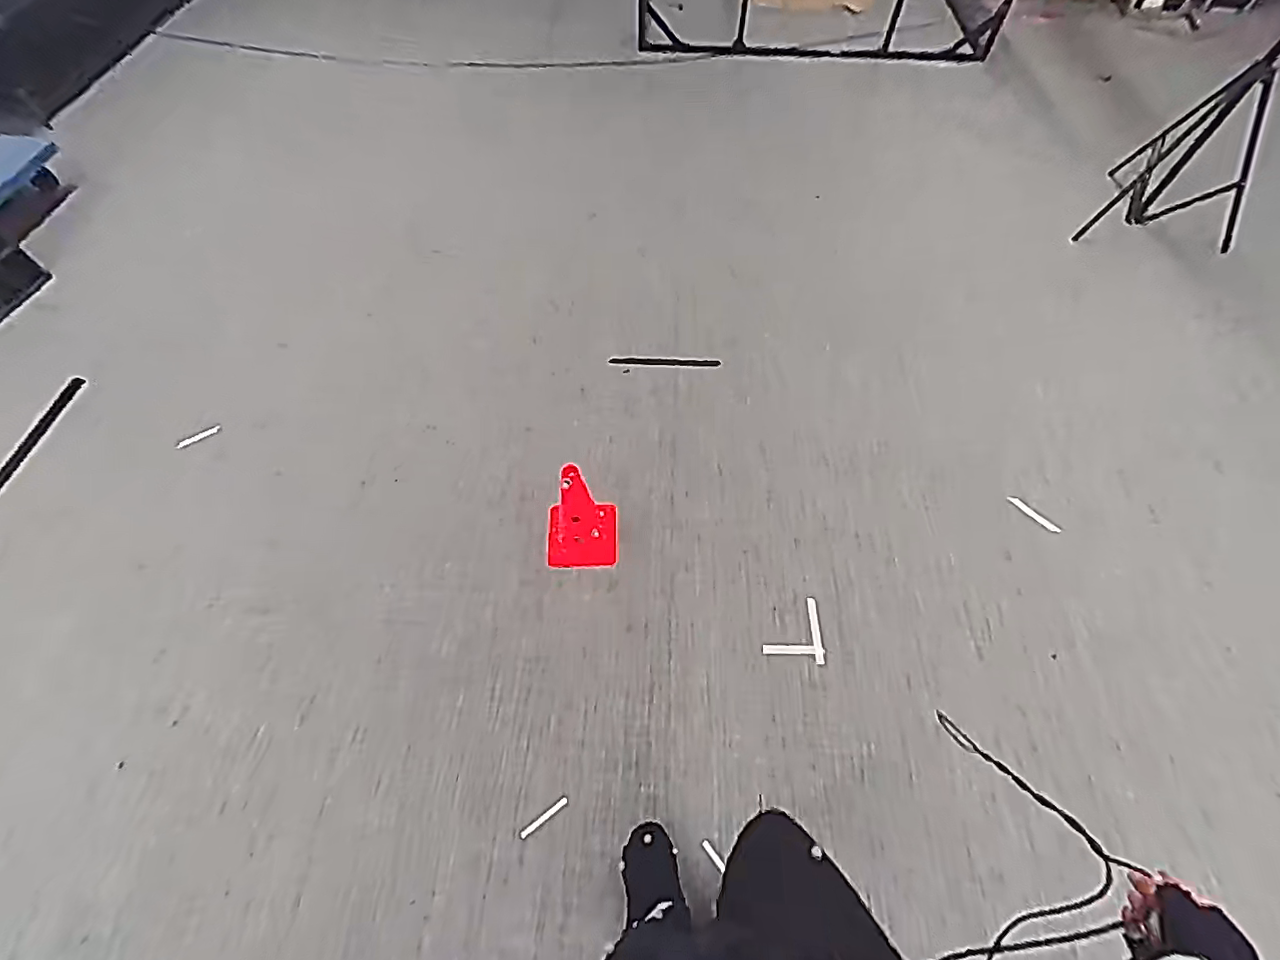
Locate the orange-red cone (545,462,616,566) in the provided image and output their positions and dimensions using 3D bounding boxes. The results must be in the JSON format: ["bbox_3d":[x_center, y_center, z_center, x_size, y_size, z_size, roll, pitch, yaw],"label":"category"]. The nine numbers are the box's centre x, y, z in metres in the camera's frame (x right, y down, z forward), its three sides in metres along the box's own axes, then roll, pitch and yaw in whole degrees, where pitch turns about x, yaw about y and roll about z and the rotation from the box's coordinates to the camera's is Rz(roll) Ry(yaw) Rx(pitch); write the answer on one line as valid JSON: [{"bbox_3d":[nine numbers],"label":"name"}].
[{"bbox_3d":[-0.173,0.066,1.405,0.199,0.360,0.198,-2,58,1],"label":"orange-red cone"}]
